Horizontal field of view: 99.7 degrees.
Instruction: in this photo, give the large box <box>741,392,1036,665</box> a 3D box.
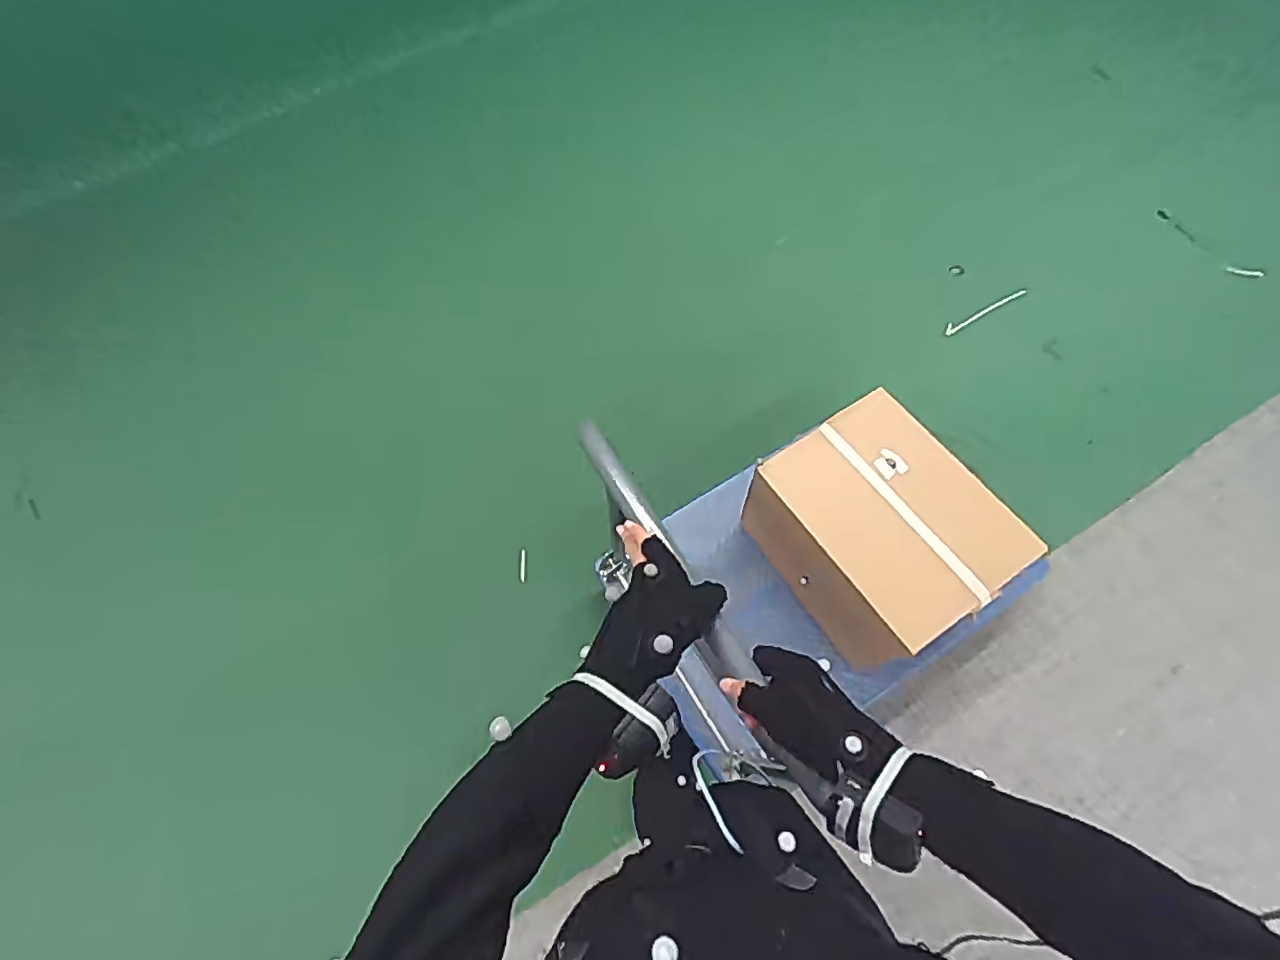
[{"bbox_3d":[0.460,0.110,1.110,0.320,0.320,0.408,-32,67,-11],"label":"large box"}]
